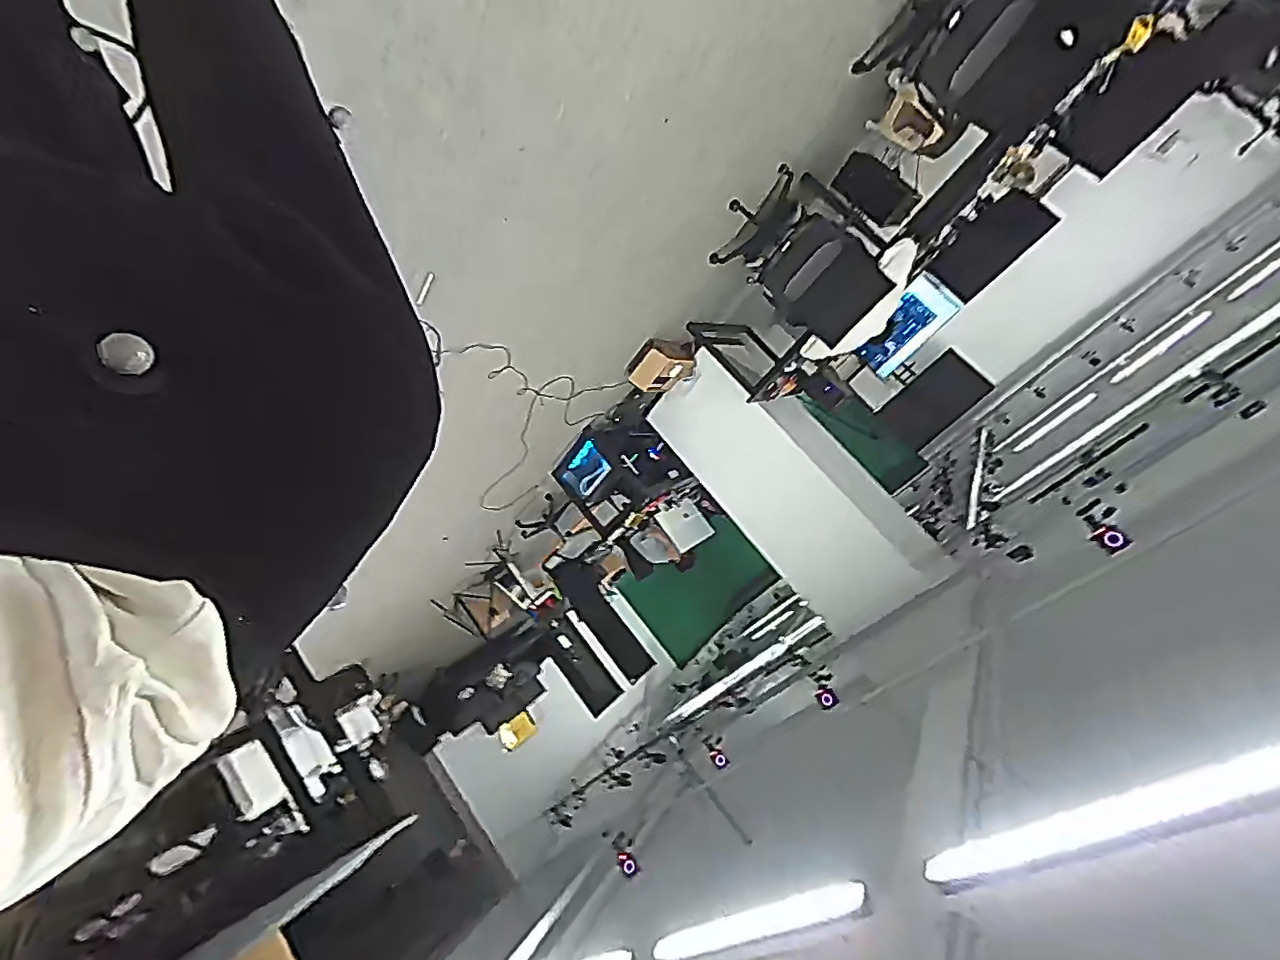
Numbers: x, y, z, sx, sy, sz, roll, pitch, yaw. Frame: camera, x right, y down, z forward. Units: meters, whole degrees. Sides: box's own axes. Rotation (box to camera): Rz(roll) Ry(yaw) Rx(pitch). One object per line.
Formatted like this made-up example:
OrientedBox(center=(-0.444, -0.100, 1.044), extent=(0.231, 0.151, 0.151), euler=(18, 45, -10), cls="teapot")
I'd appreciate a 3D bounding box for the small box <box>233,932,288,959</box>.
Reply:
OrientedBox(center=(-1.104, 1.435, 1.532), extent=(0.168, 0.176, 0.179), euler=(-23, 158, -53), cls="small box")
